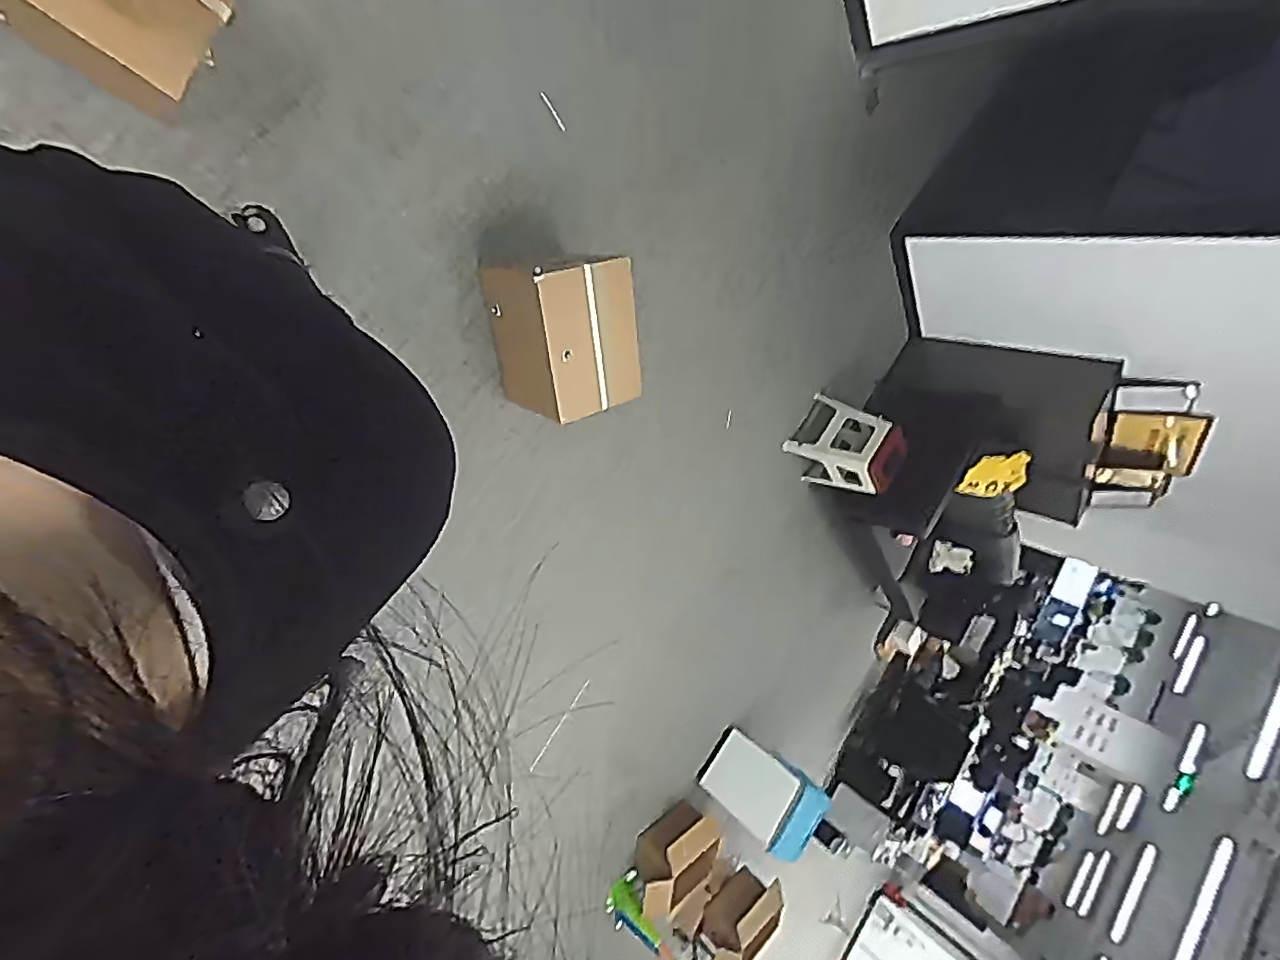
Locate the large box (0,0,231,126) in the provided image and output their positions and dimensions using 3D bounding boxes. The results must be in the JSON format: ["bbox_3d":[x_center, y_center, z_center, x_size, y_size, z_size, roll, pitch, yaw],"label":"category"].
[{"bbox_3d":[-0.866,-0.820,0.792,0.408,0.320,0.320,27,87,-46],"label":"large box"}]

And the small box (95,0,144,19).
[{"bbox_3d":[-0.683,-0.720,0.656,0.168,0.176,0.179,28,88,-48],"label":"small box"}]
